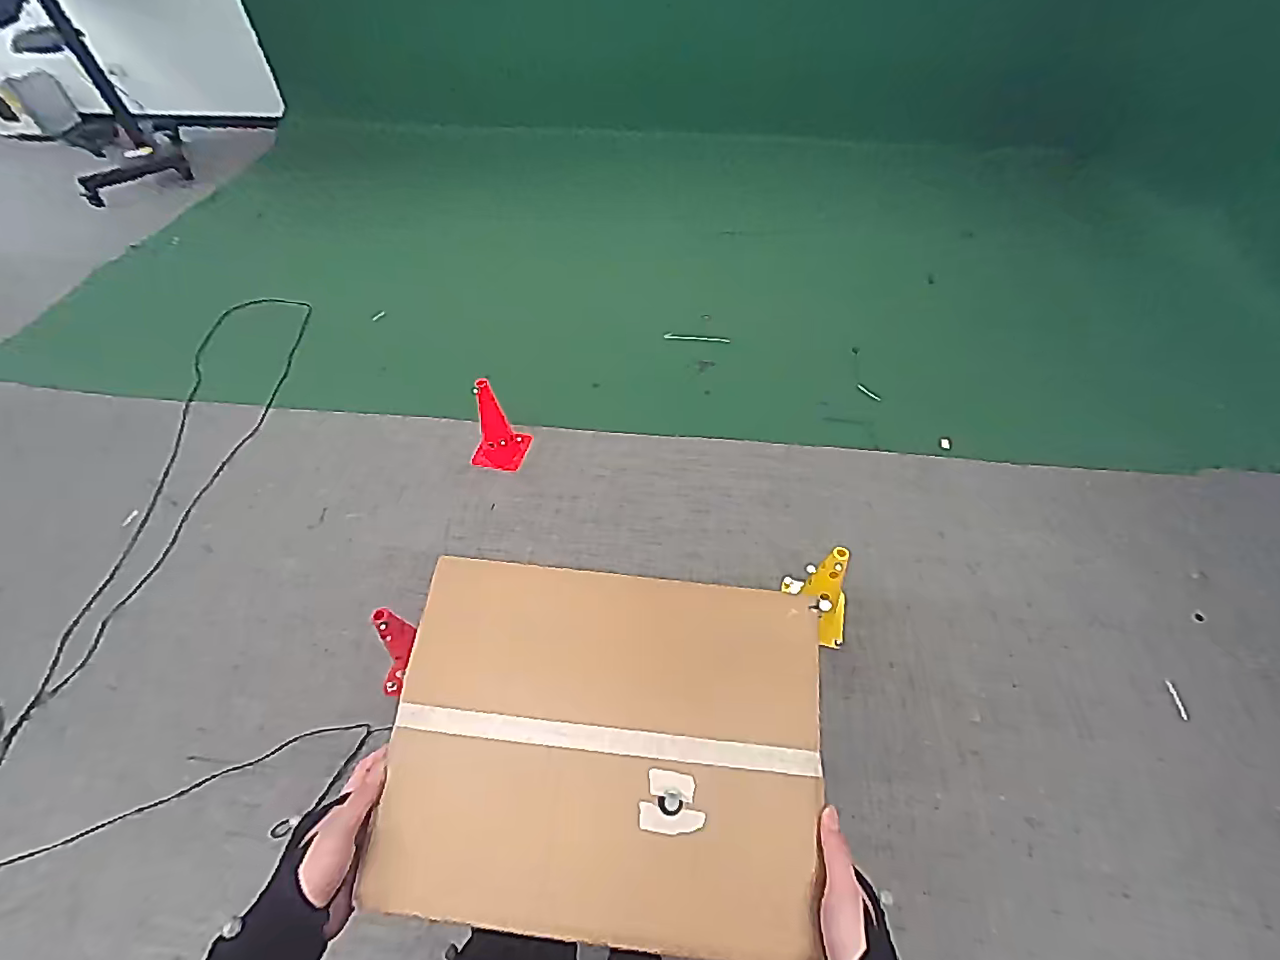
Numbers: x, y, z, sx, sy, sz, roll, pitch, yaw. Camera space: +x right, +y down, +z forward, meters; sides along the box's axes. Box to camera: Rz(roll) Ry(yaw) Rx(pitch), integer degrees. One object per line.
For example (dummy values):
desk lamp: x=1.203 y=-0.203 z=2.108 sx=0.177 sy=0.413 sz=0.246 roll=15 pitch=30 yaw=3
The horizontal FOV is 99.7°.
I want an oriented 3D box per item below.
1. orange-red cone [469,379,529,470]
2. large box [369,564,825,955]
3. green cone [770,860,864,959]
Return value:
orange-red cone: x=-0.565 y=-0.230 z=2.019 sx=0.199 sy=0.360 sz=0.198 roll=10 pitch=51 yaw=10
large box: x=-0.029 y=0.305 z=0.657 sx=0.408 sy=0.320 sz=0.320 roll=5 pitch=68 yaw=2
green cone: x=0.393 y=0.886 z=1.121 sx=0.200 sy=0.368 sz=0.202 roll=9 pitch=51 yaw=8
